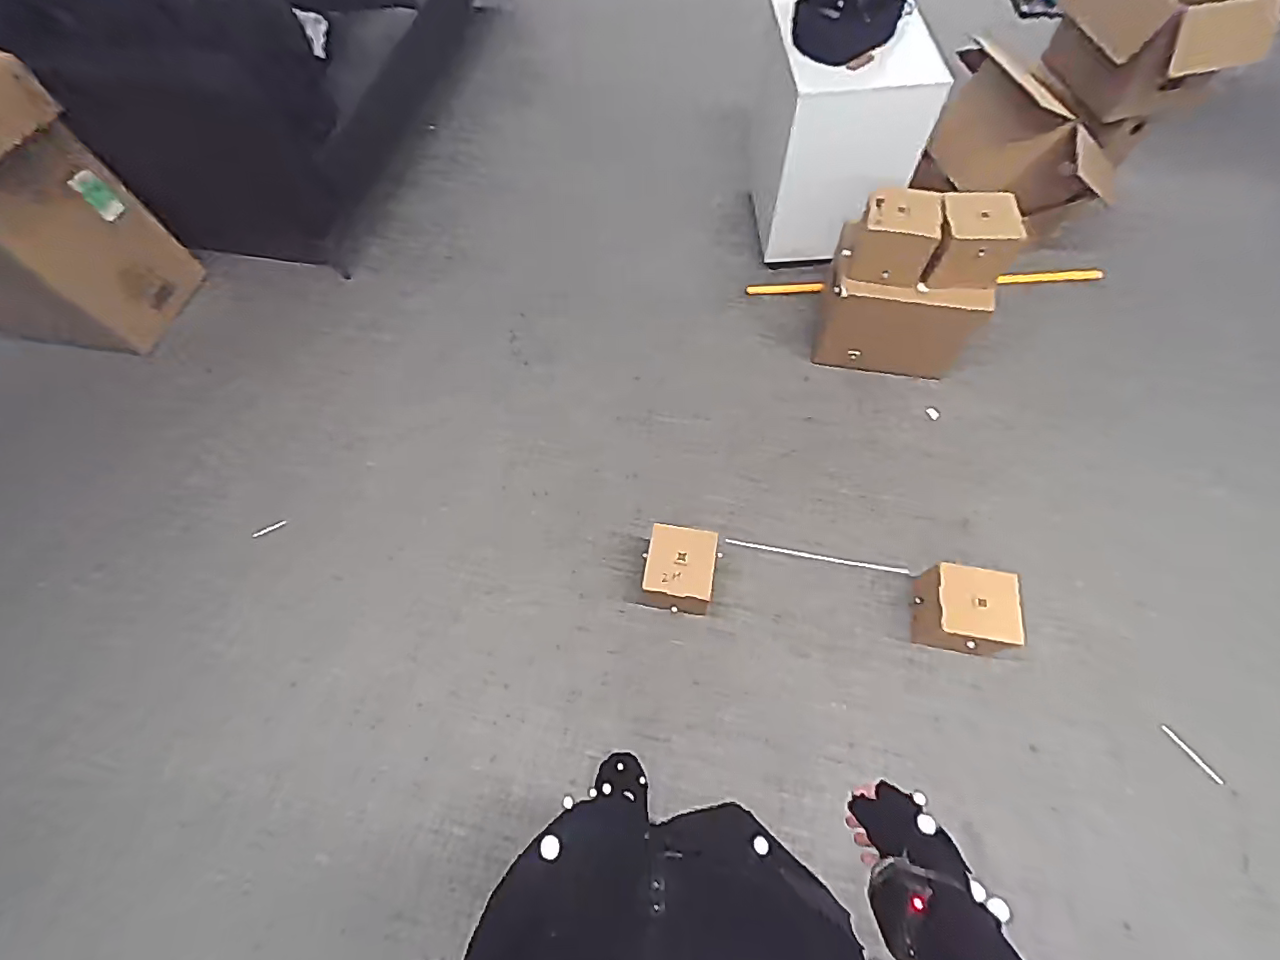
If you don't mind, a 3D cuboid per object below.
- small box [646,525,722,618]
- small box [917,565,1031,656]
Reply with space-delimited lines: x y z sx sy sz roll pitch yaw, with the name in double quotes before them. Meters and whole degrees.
"small box" 0.111 0.236 1.371 0.168 0.176 0.179 8 65 7
"small box" 0.787 0.317 1.292 0.179 0.176 0.168 8 65 8
